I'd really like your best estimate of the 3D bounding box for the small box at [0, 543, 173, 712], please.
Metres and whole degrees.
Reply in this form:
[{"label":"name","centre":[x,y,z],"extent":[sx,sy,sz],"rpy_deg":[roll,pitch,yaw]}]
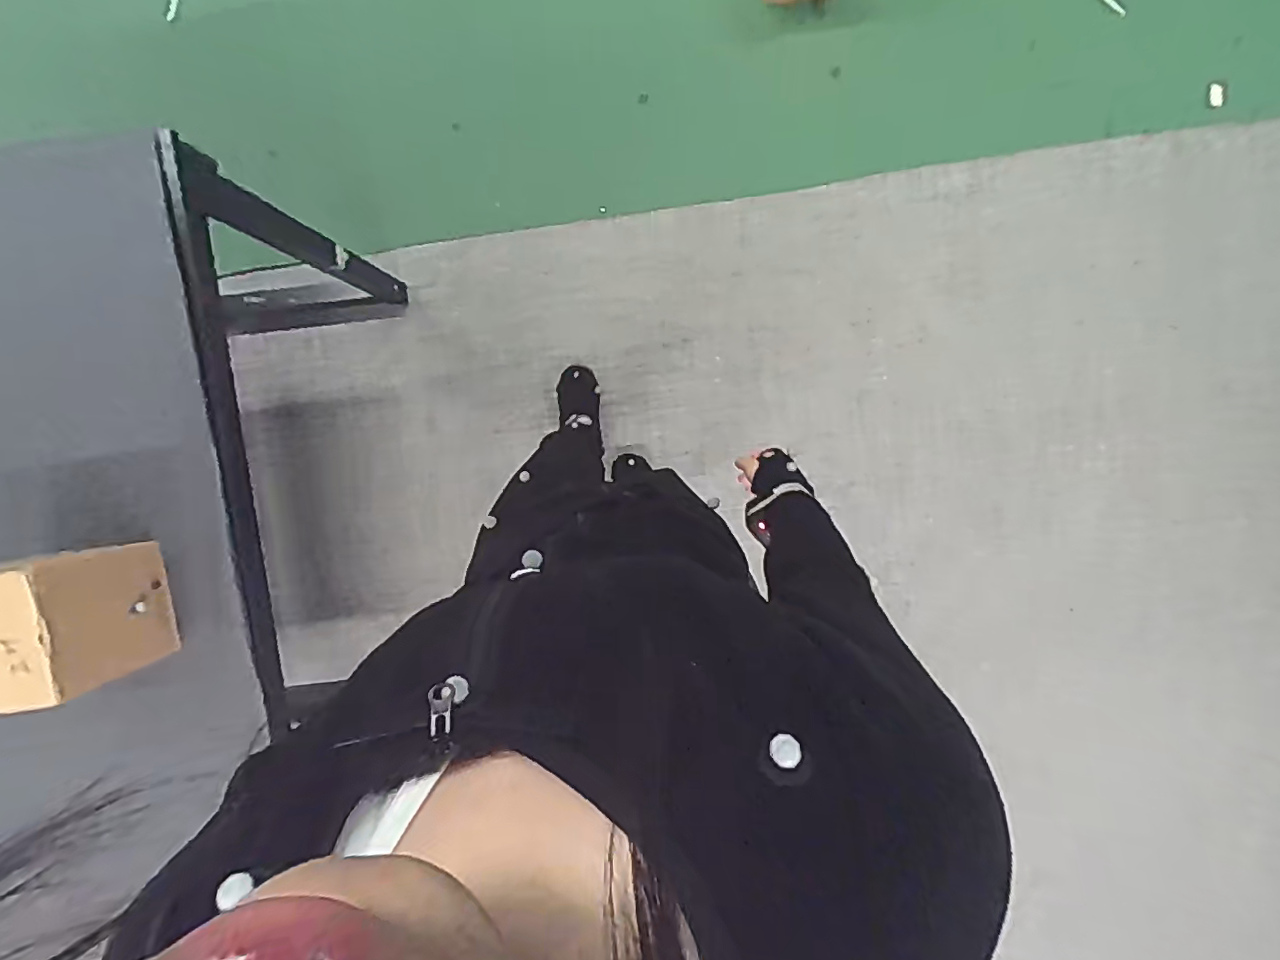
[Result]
[{"label":"small box","centre":[-0.775,0.185,0.705],"extent":[0.179,0.176,0.168],"rpy_deg":[-7,95,2]}]
